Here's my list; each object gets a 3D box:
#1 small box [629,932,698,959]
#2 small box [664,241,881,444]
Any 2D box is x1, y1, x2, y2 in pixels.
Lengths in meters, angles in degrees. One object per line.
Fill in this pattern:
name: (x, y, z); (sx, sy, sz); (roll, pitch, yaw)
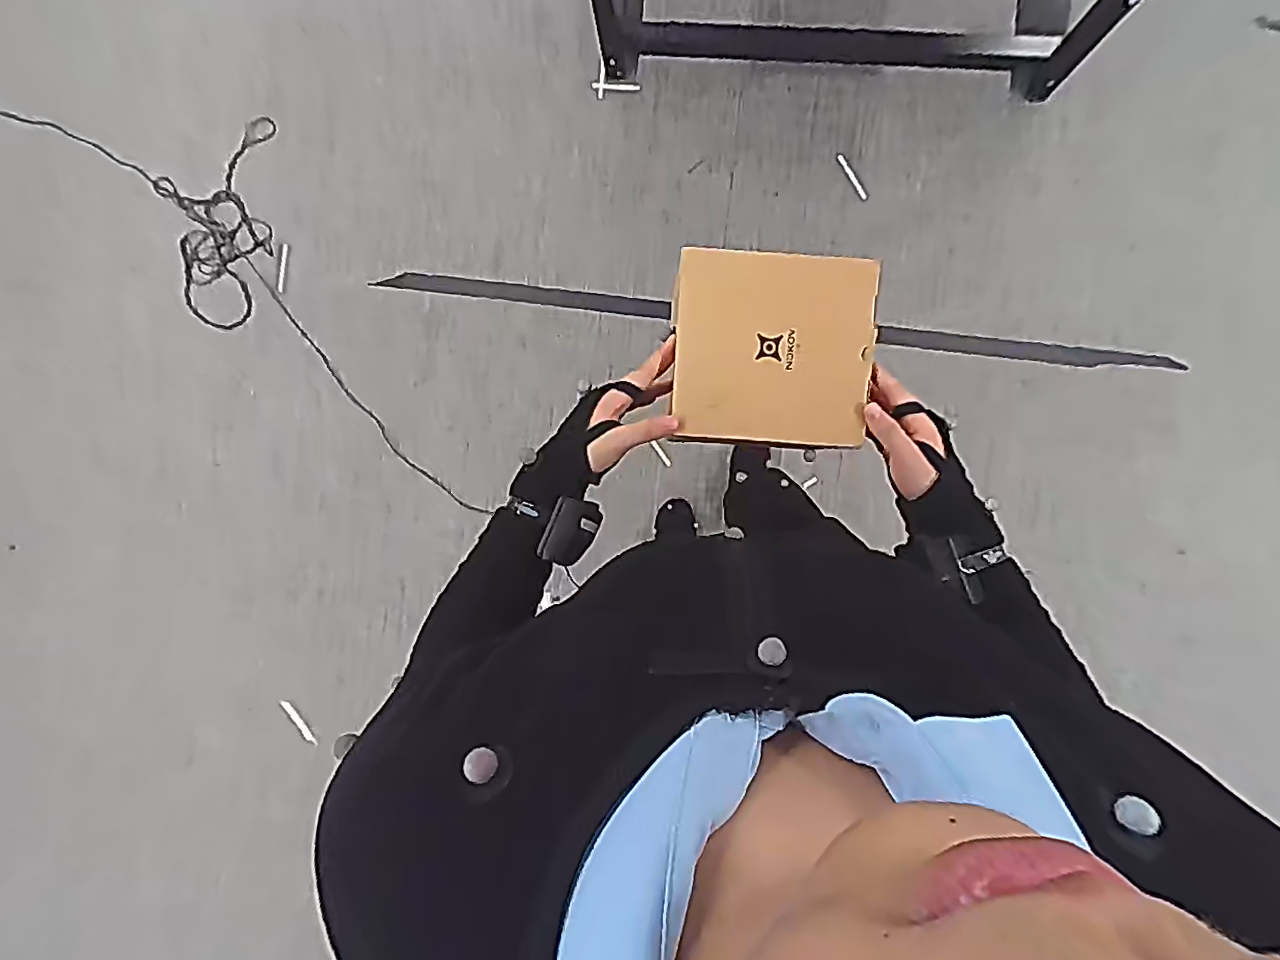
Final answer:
small box: (0.045, 1.218, 1.264); (0.168, 0.176, 0.179); (11, 92, 4)
small box: (0.118, -0.125, 0.551); (0.179, 0.176, 0.168); (3, 93, -1)
